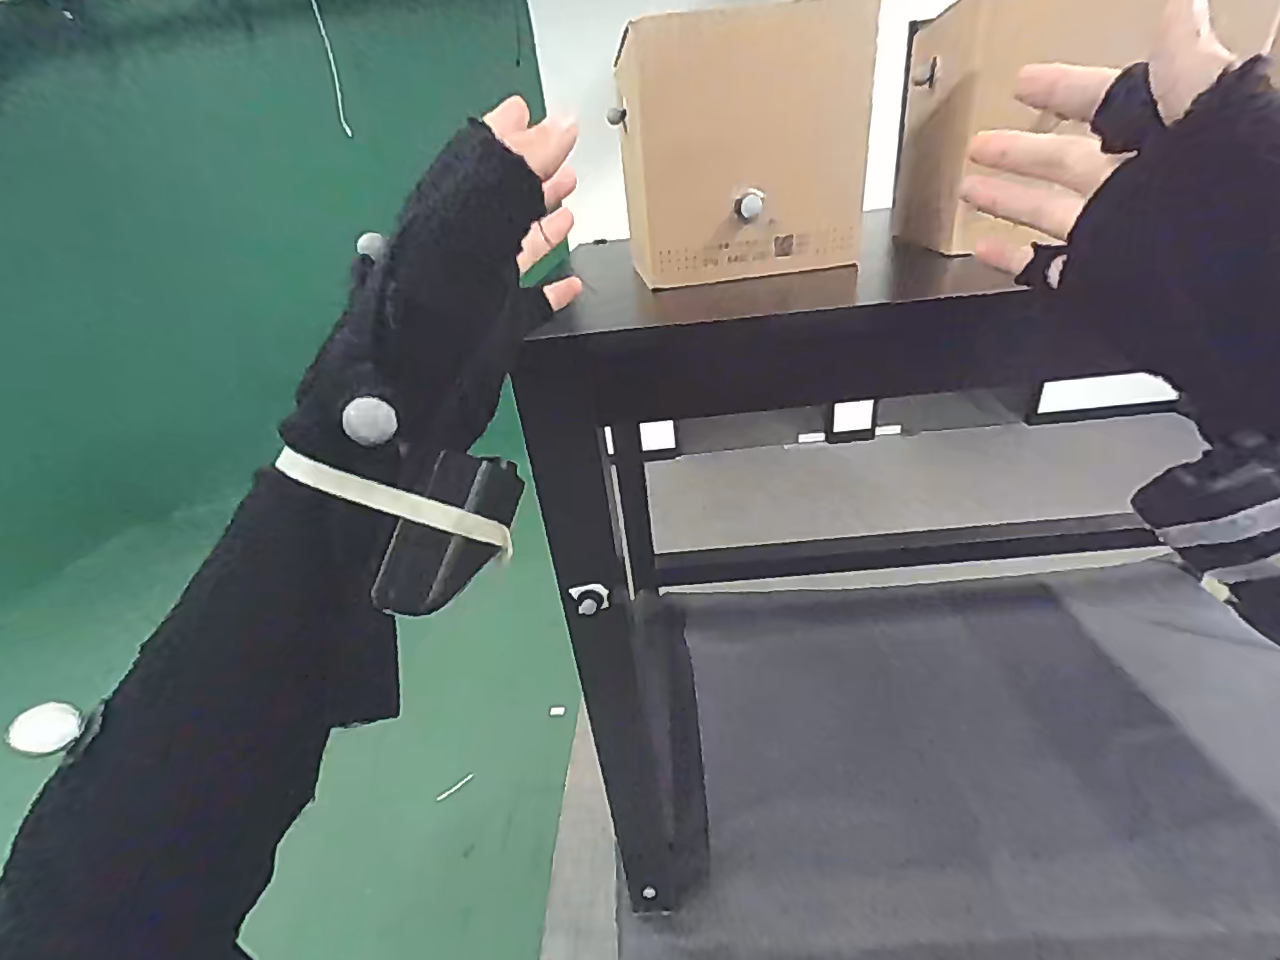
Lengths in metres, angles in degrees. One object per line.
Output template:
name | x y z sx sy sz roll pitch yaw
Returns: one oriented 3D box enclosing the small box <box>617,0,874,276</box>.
small box | 0.073 -0.276 0.460 0.168 0.176 0.179 -8 29 -2
